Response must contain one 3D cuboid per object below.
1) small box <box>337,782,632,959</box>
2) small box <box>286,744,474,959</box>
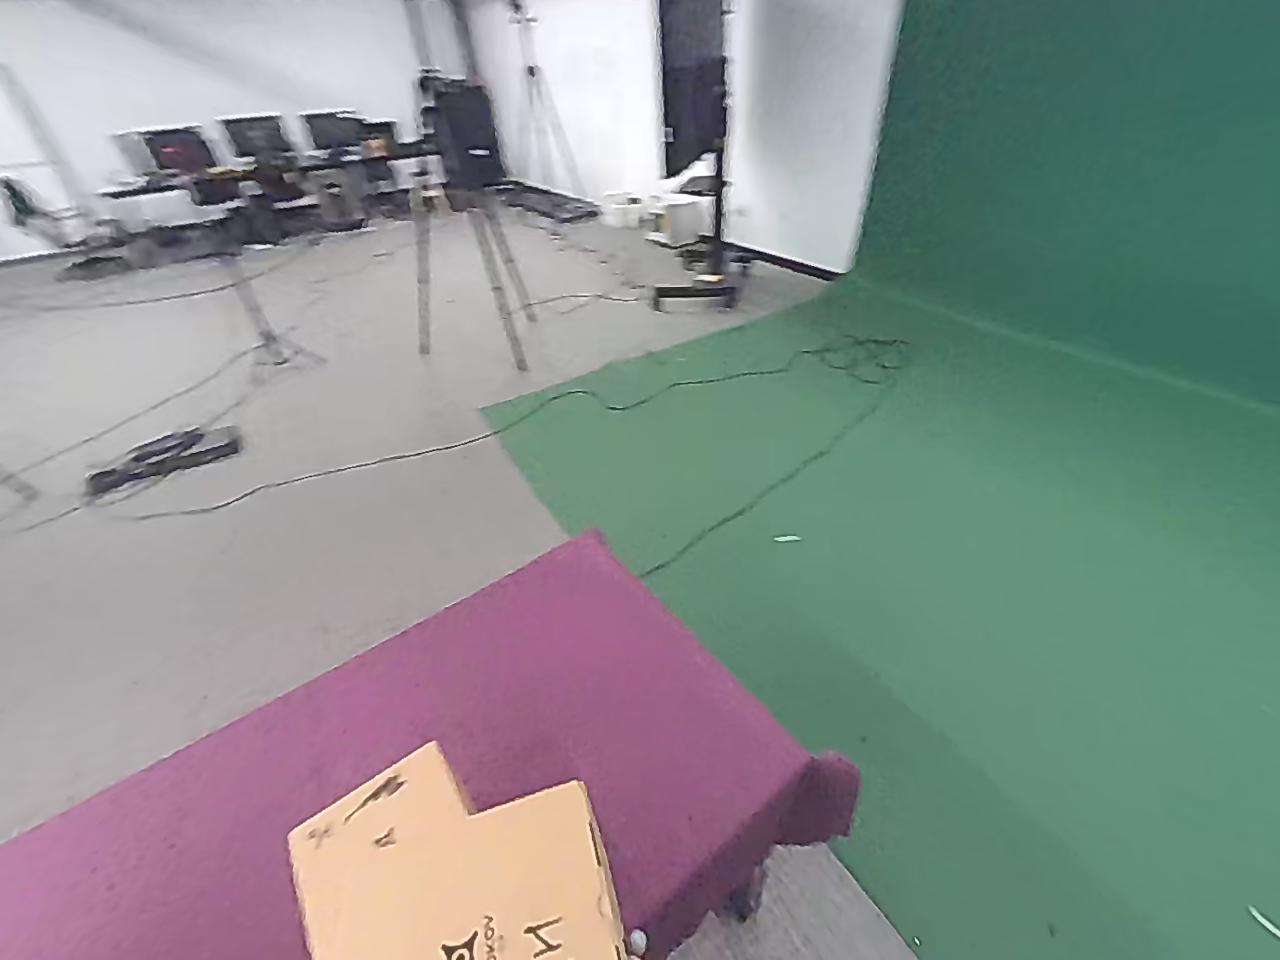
[{"bbox_3d":[-0.096,0.359,0.386,0.179,0.176,0.168,-12,39,-11],"label":"small box"},{"bbox_3d":[-0.264,0.453,0.616,0.168,0.176,0.179,-27,44,-26],"label":"small box"}]
